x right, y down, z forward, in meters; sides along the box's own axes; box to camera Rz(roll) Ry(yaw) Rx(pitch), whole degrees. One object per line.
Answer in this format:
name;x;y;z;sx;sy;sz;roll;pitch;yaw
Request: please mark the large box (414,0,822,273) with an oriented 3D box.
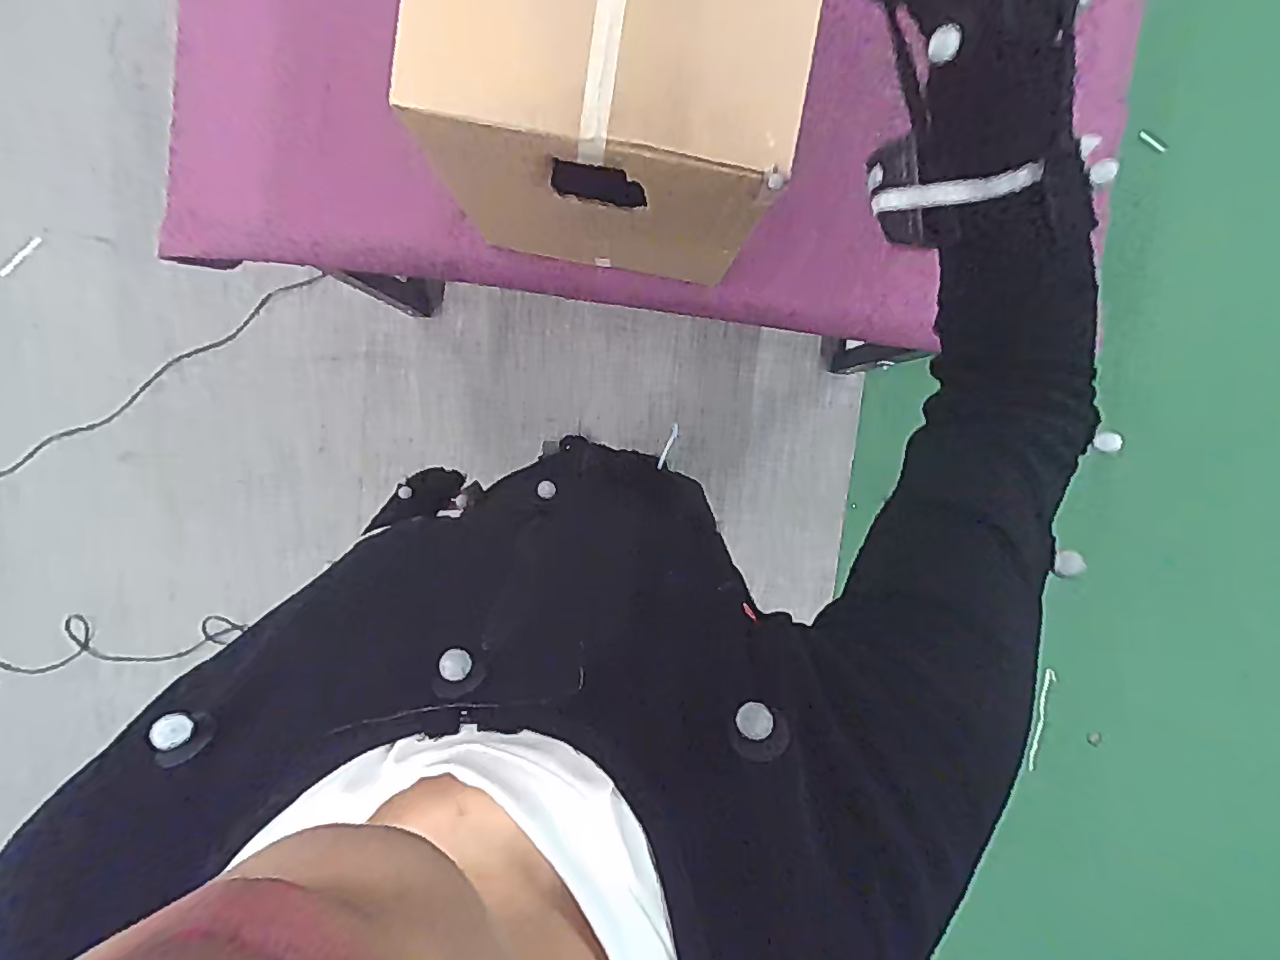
large box;-0.005;-0.481;0.559;0.320;0.320;0.408;9;96;-3
